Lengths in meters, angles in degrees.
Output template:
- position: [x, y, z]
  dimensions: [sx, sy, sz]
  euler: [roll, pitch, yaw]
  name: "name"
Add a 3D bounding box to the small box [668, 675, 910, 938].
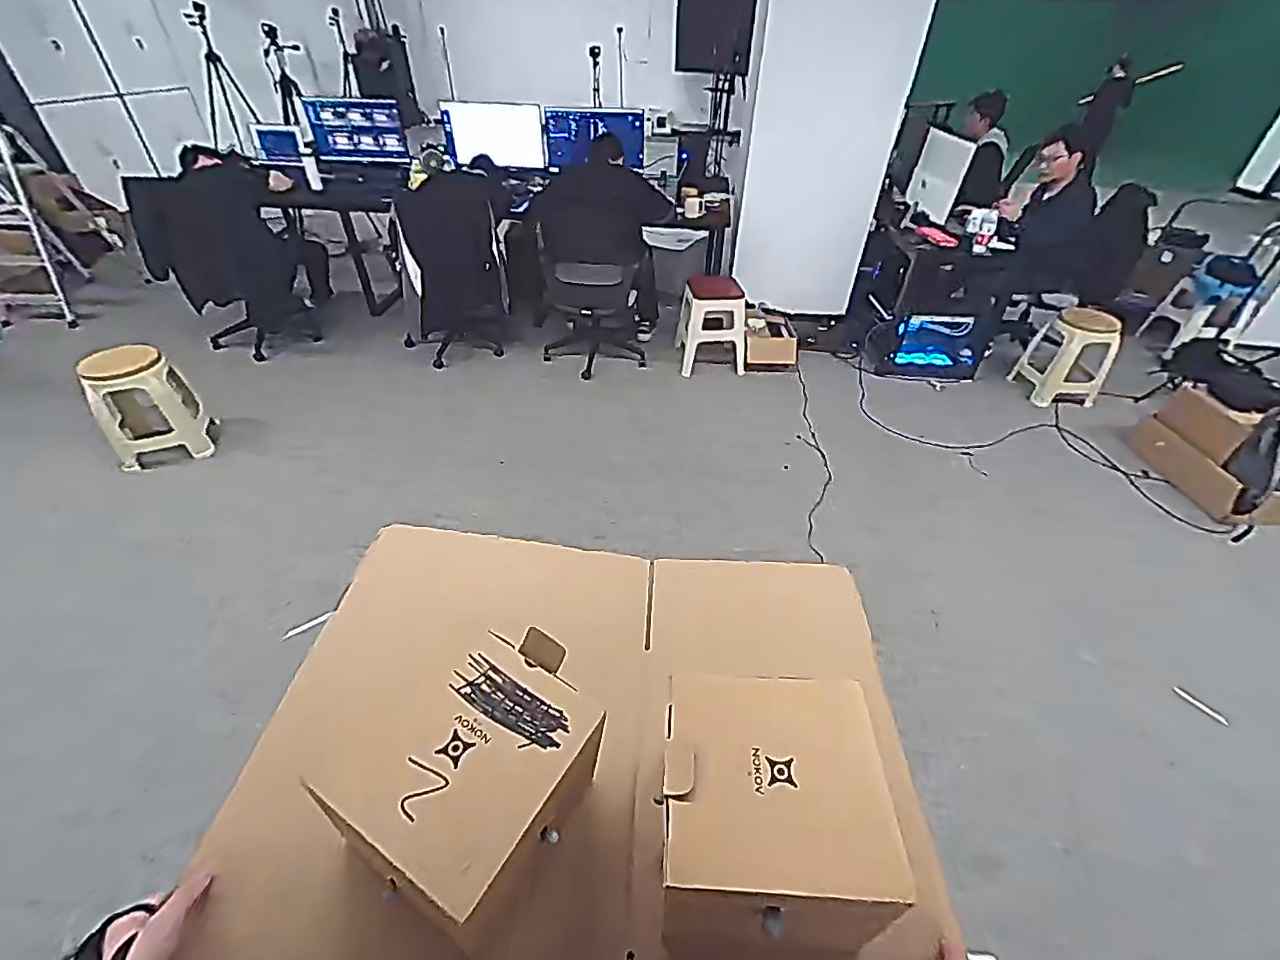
- position: [0.116, 0.302, 0.503]
  dimensions: [0.179, 0.176, 0.168]
  euler: [0, 41, 4]
  name: "small box"
